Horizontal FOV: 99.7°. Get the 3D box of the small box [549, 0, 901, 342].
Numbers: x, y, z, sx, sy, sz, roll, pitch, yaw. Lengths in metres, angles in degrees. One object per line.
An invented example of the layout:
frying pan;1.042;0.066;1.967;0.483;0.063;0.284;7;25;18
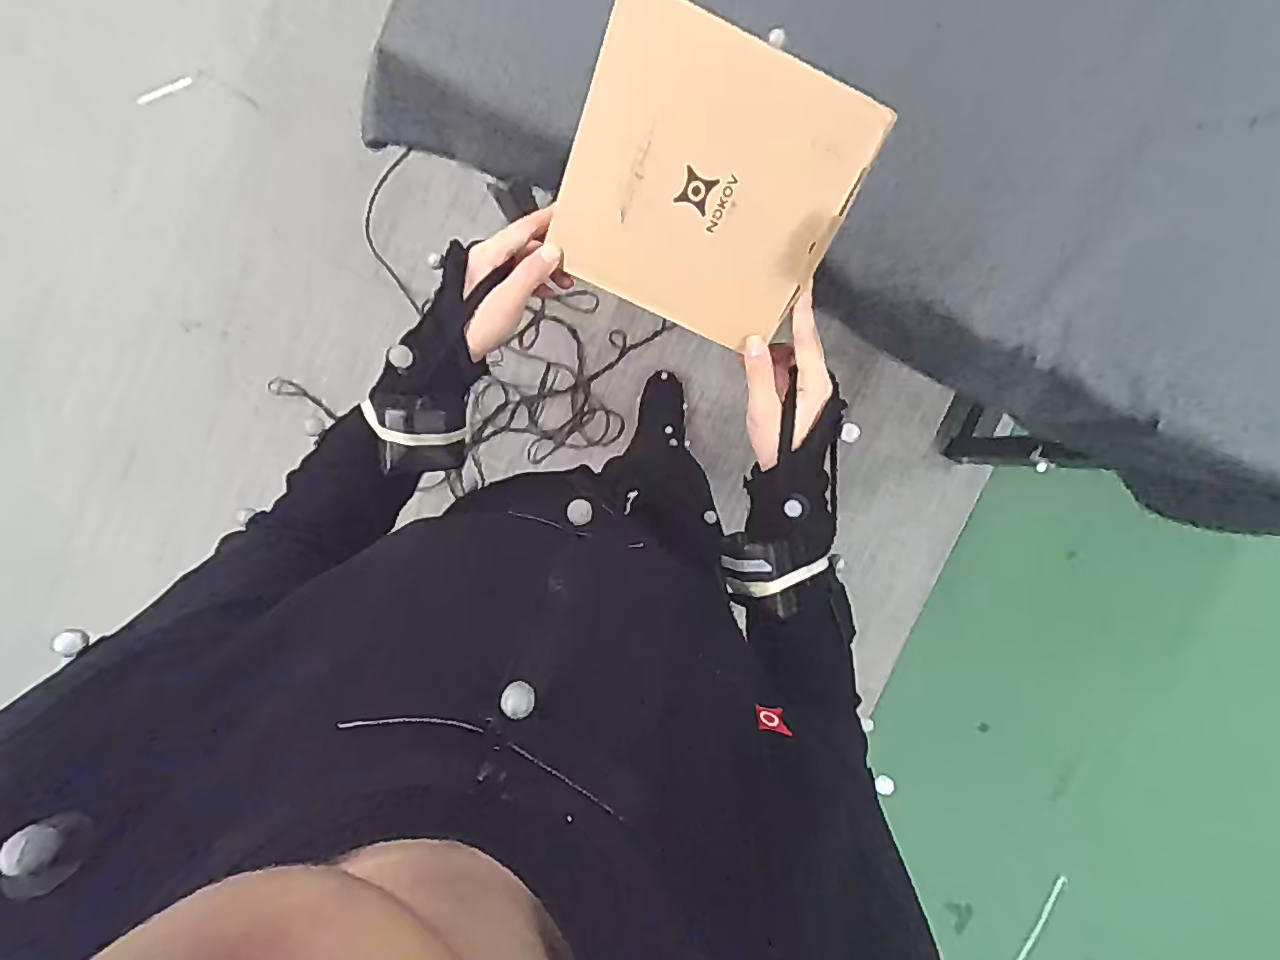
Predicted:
small box;0.056;-0.234;0.416;0.179;0.176;0.168;23;119;-4
